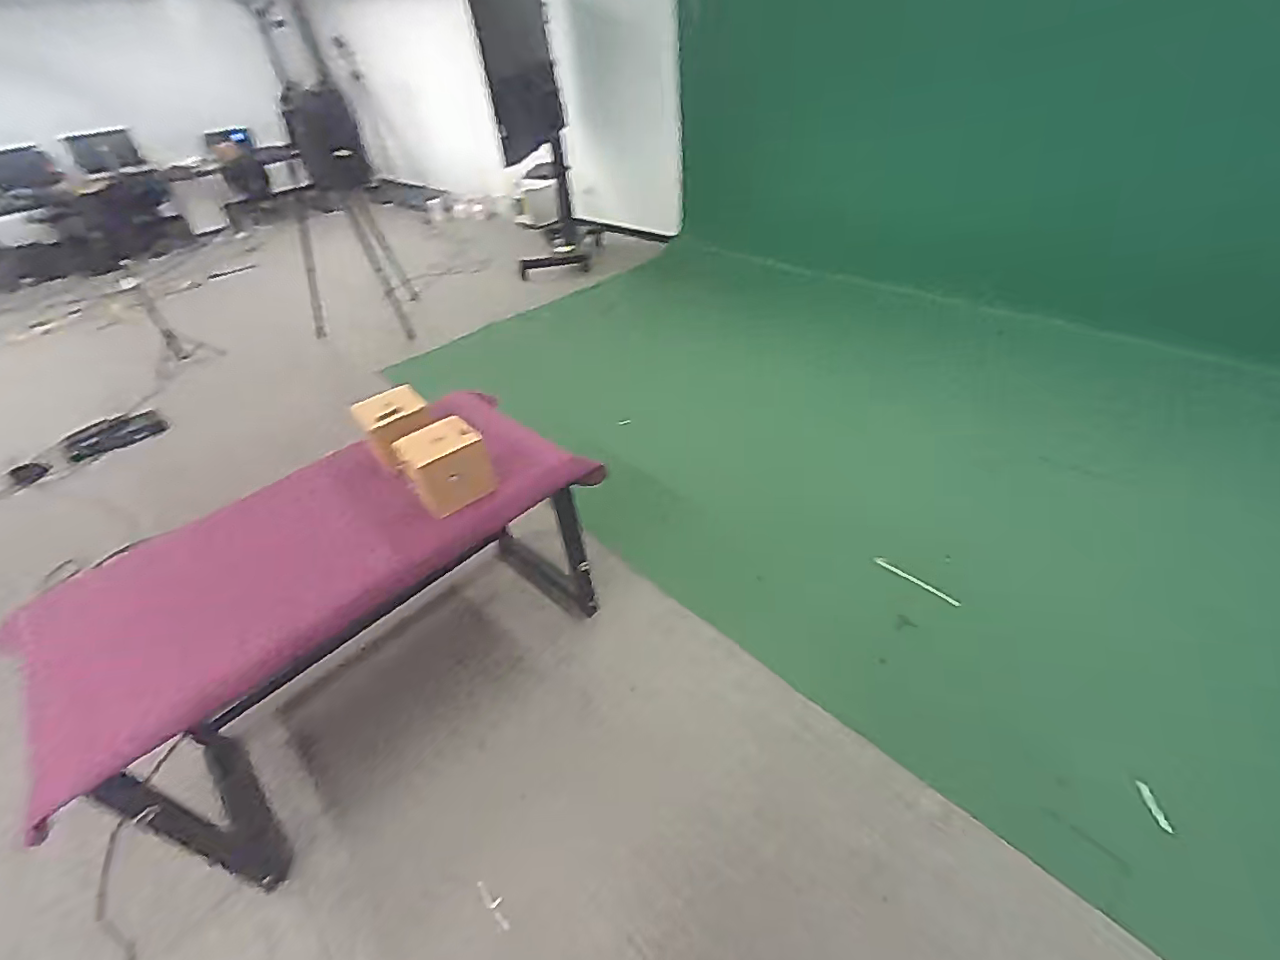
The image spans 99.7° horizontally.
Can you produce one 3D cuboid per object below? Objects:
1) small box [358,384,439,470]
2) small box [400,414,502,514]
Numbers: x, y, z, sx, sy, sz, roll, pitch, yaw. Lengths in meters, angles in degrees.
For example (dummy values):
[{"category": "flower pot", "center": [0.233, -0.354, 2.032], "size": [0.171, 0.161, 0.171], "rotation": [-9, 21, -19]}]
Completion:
[{"category": "small box", "center": [-0.681, -0.149, 1.569], "size": [0.168, 0.176, 0.179], "rotation": [-30, 45, -26]}, {"category": "small box", "center": [-0.487, -0.040, 1.412], "size": [0.179, 0.176, 0.168], "rotation": [-31, 45, -26]}]
